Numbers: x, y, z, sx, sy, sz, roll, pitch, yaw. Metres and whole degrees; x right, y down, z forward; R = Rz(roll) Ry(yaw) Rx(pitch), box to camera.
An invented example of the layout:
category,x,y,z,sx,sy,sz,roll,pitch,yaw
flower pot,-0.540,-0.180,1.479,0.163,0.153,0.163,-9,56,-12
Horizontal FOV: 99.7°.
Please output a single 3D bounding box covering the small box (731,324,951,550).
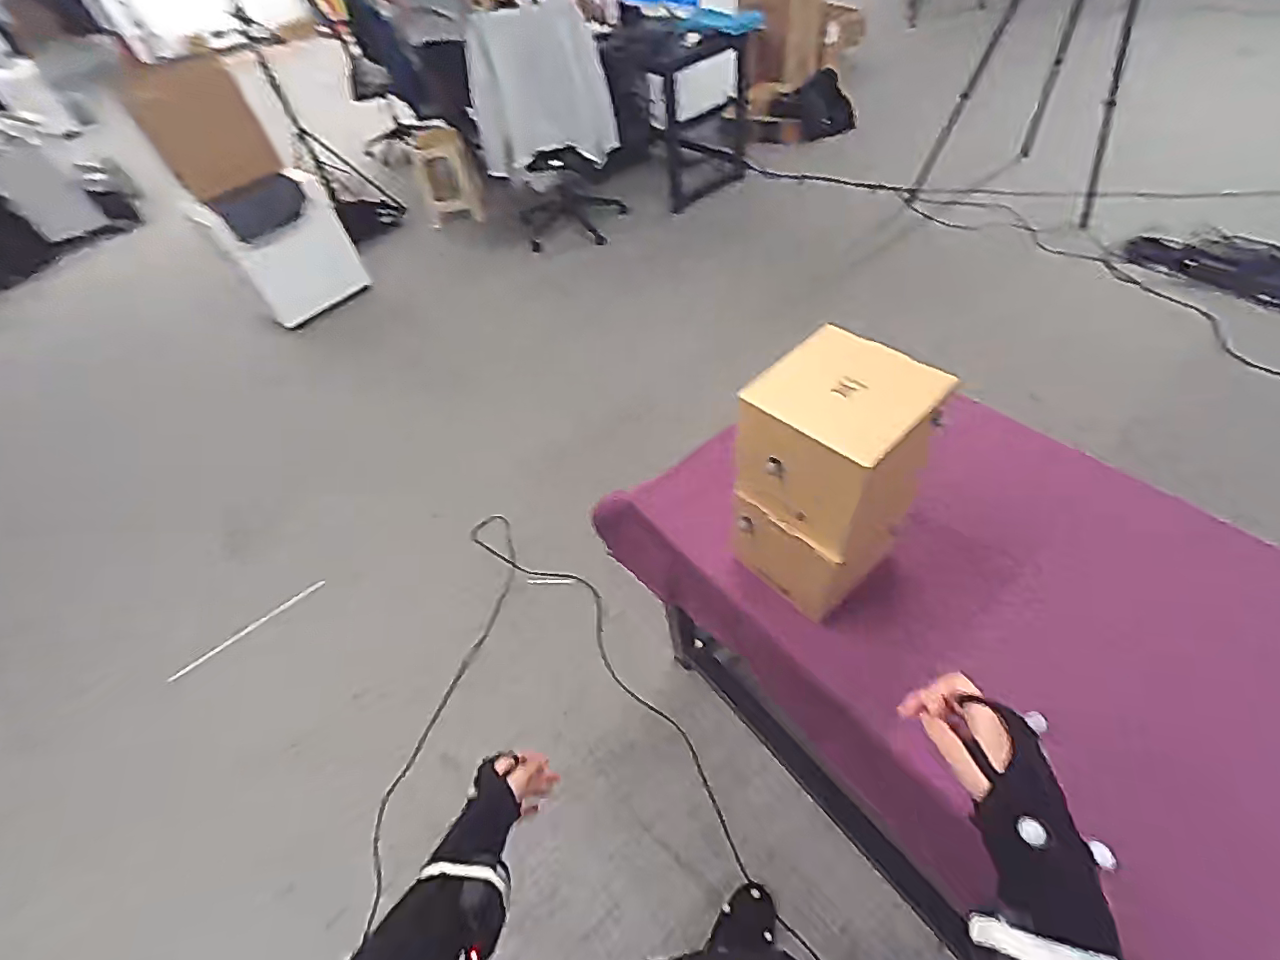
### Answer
category,x,y,z,sx,sy,sz,roll,pitch,yaw
small box,0.227,-0.050,0.648,0.179,0.176,0.168,-38,55,-22
